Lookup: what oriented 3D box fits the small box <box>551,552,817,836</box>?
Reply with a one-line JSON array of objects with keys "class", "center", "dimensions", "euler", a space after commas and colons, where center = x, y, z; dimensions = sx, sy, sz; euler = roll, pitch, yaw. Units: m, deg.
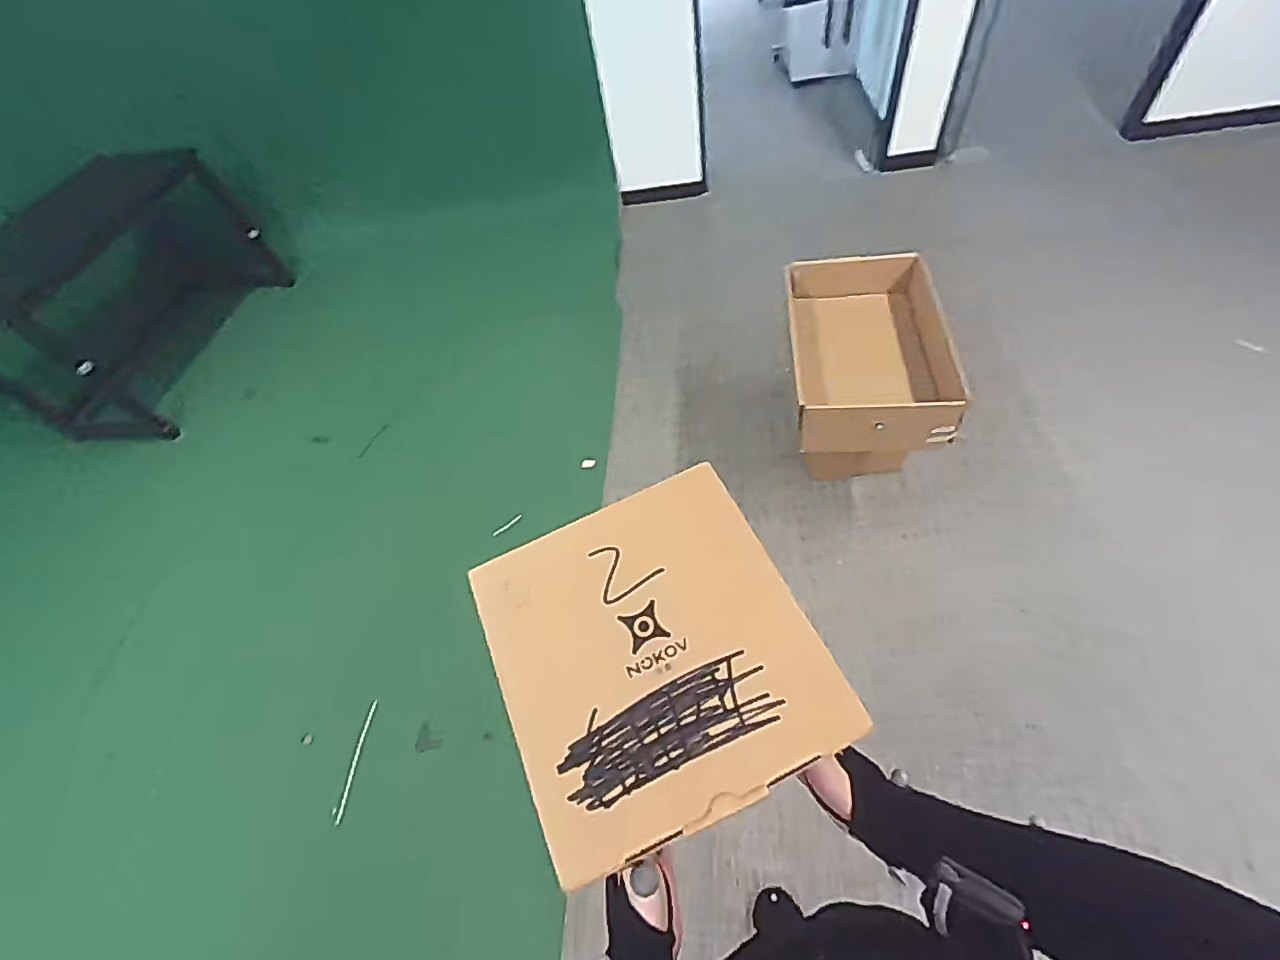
[{"class": "small box", "center": [0.036, 0.202, 0.510], "dimensions": [0.168, 0.176, 0.179], "euler": [-25, 60, -6]}]
